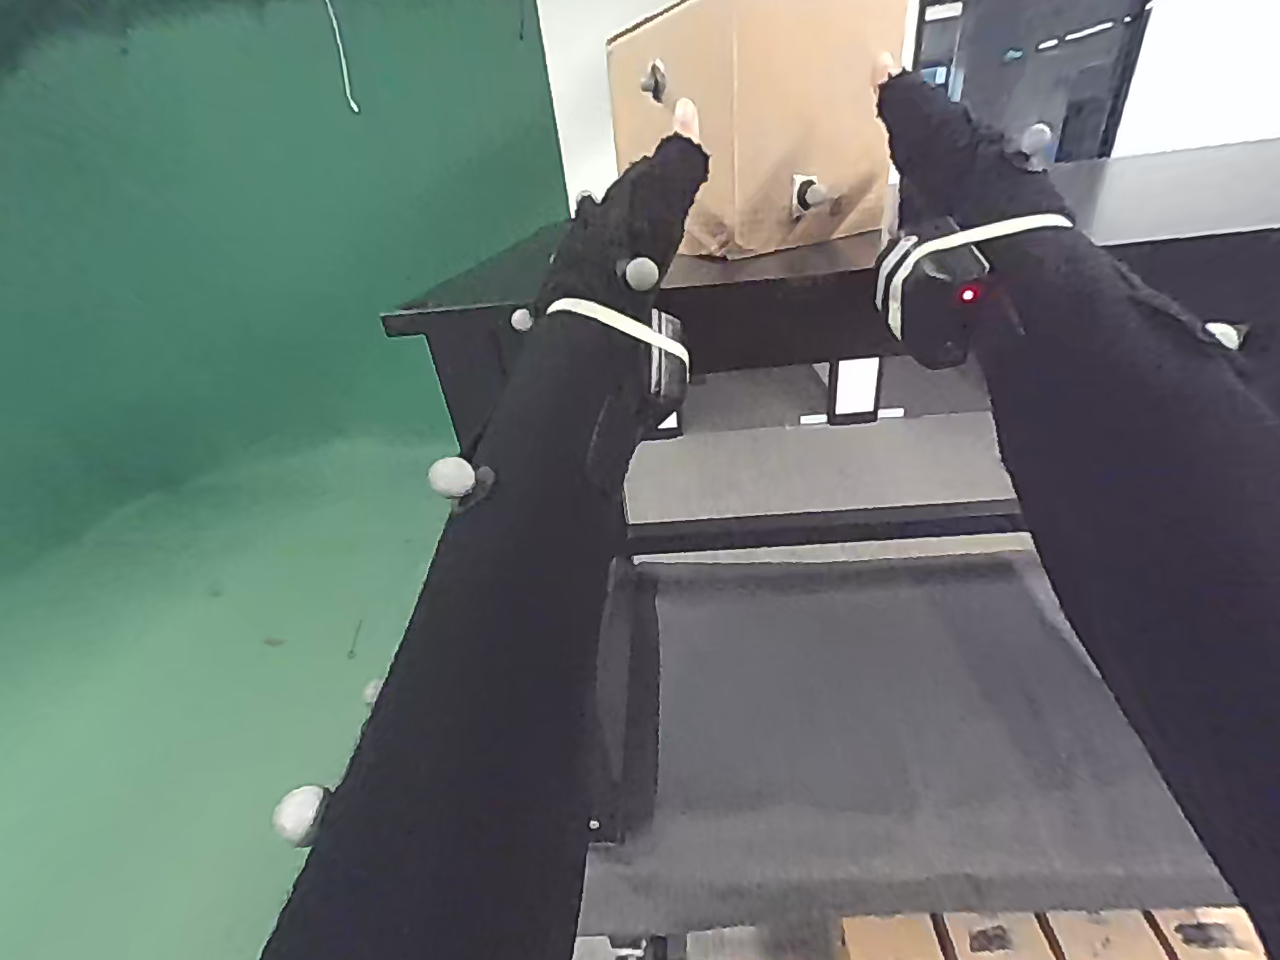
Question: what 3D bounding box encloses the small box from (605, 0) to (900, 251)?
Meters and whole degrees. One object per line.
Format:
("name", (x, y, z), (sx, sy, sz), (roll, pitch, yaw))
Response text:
("small box", (0.087, -0.301, 0.466), (0.168, 0.176, 0.179), (-22, 34, -22))
